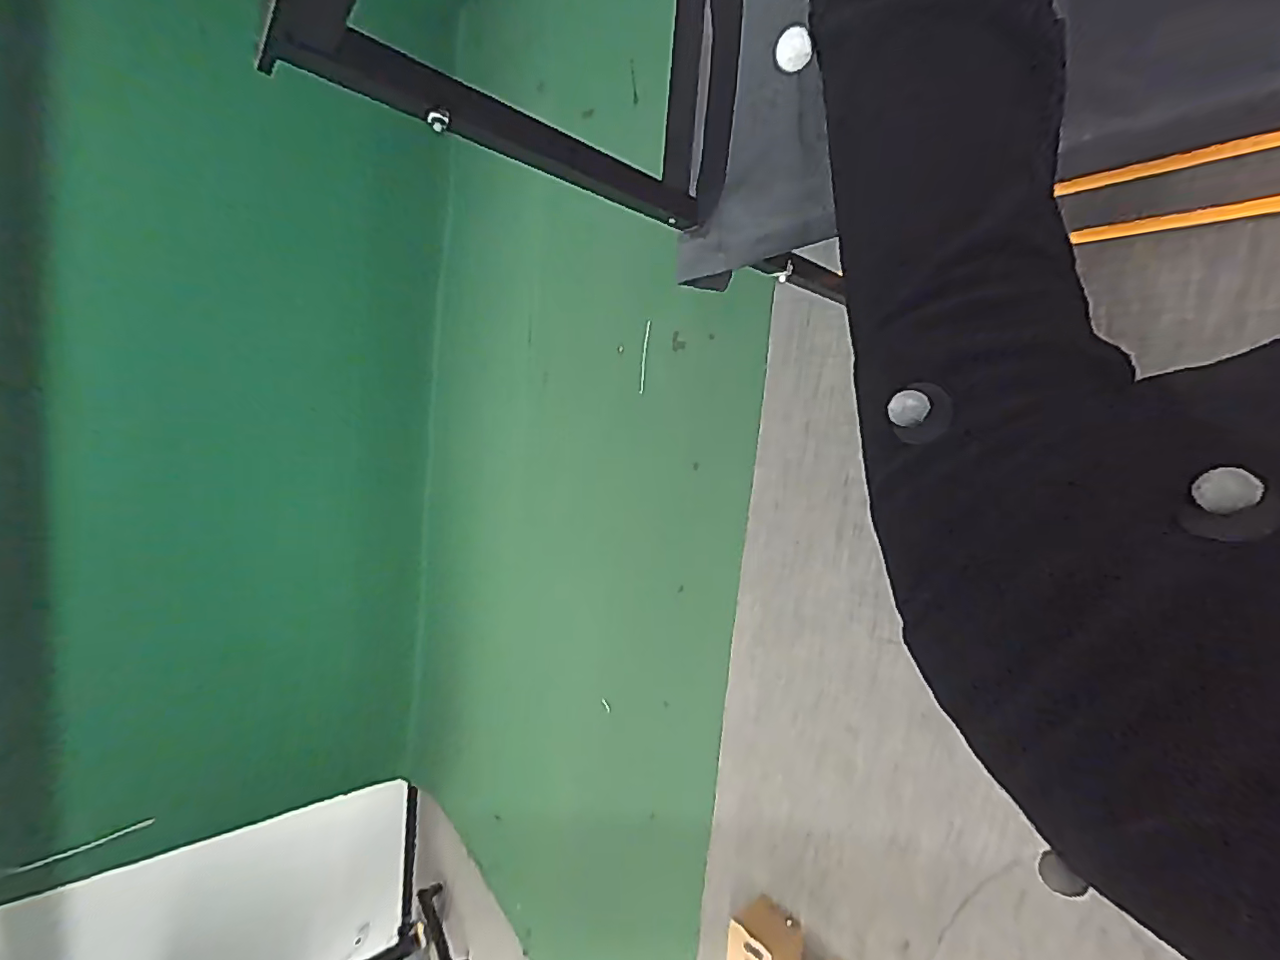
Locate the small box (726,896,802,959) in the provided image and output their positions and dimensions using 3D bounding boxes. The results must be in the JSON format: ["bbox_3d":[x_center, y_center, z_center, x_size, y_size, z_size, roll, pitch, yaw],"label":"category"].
[{"bbox_3d":[0.401,1.501,1.736,0.168,0.176,0.179,10,97,50],"label":"small box"}]
